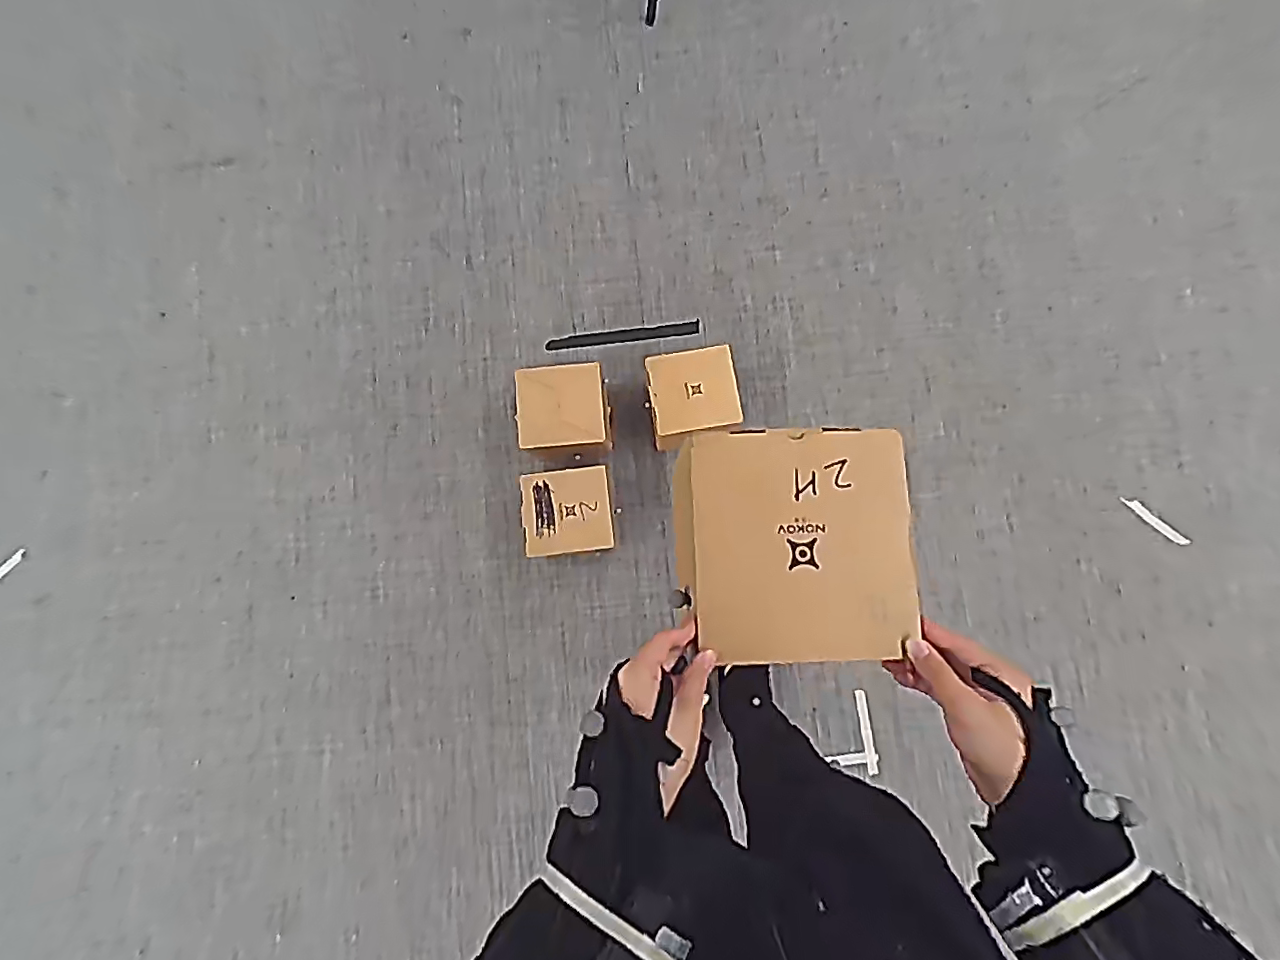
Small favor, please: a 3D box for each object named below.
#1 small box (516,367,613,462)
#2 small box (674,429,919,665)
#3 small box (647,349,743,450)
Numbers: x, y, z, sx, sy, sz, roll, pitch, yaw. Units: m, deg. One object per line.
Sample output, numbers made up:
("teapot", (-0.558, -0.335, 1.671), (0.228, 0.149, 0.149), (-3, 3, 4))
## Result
("small box", (-0.157, -0.137, 1.169), (0.179, 0.176, 0.168), (-5, 83, 1))
("small box", (0.121, 0.059, 0.484), (0.168, 0.176, 0.179), (-1, 81, -2))
("small box", (0.112, -0.167, 1.171), (0.179, 0.176, 0.168), (-10, 83, 1))
